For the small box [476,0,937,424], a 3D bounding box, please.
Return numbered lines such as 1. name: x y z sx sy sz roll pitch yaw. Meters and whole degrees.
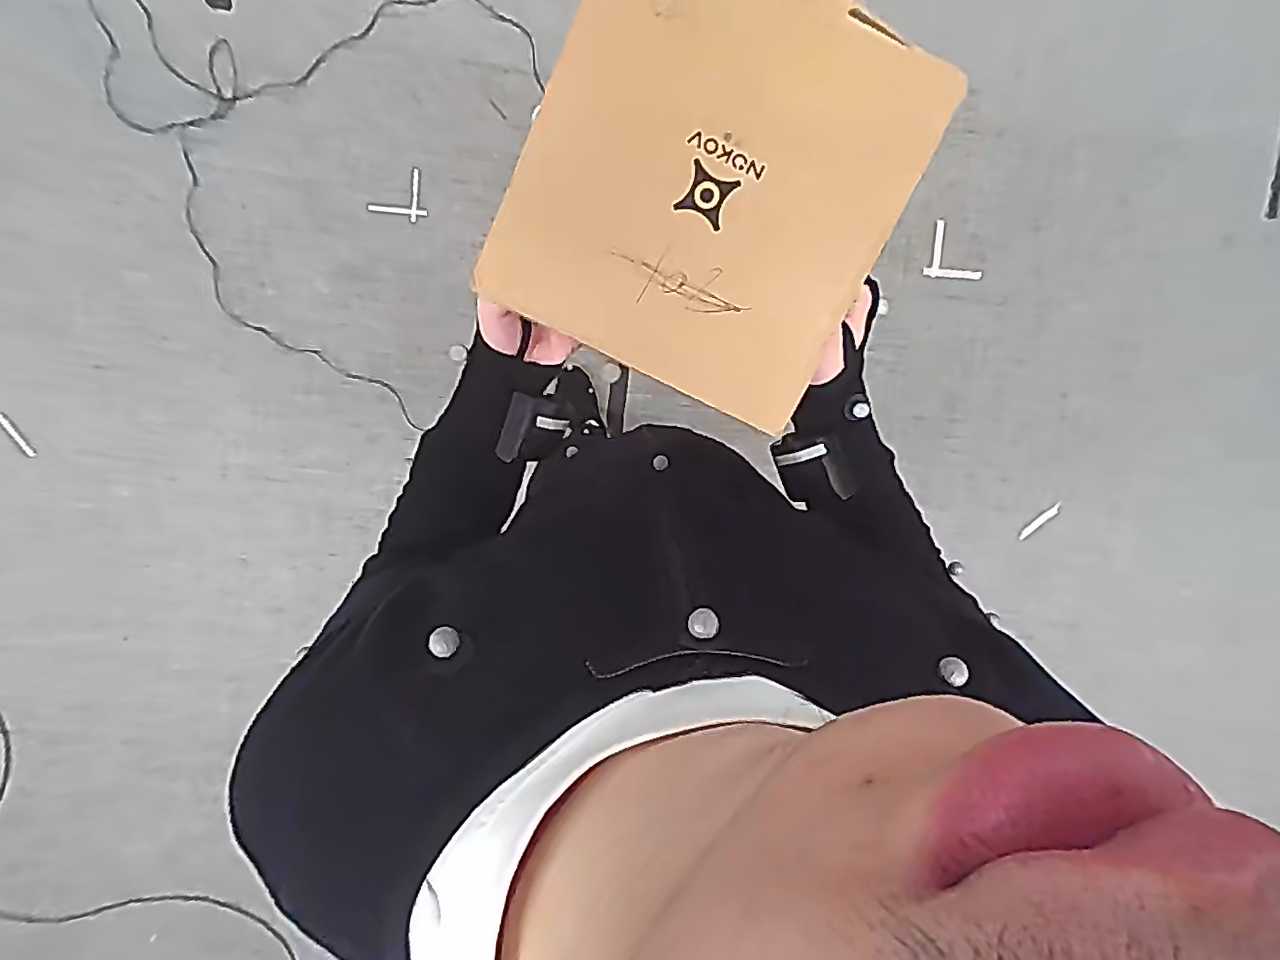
1. small box: 0.028 -0.153 0.331 0.168 0.176 0.179 24 101 -4
